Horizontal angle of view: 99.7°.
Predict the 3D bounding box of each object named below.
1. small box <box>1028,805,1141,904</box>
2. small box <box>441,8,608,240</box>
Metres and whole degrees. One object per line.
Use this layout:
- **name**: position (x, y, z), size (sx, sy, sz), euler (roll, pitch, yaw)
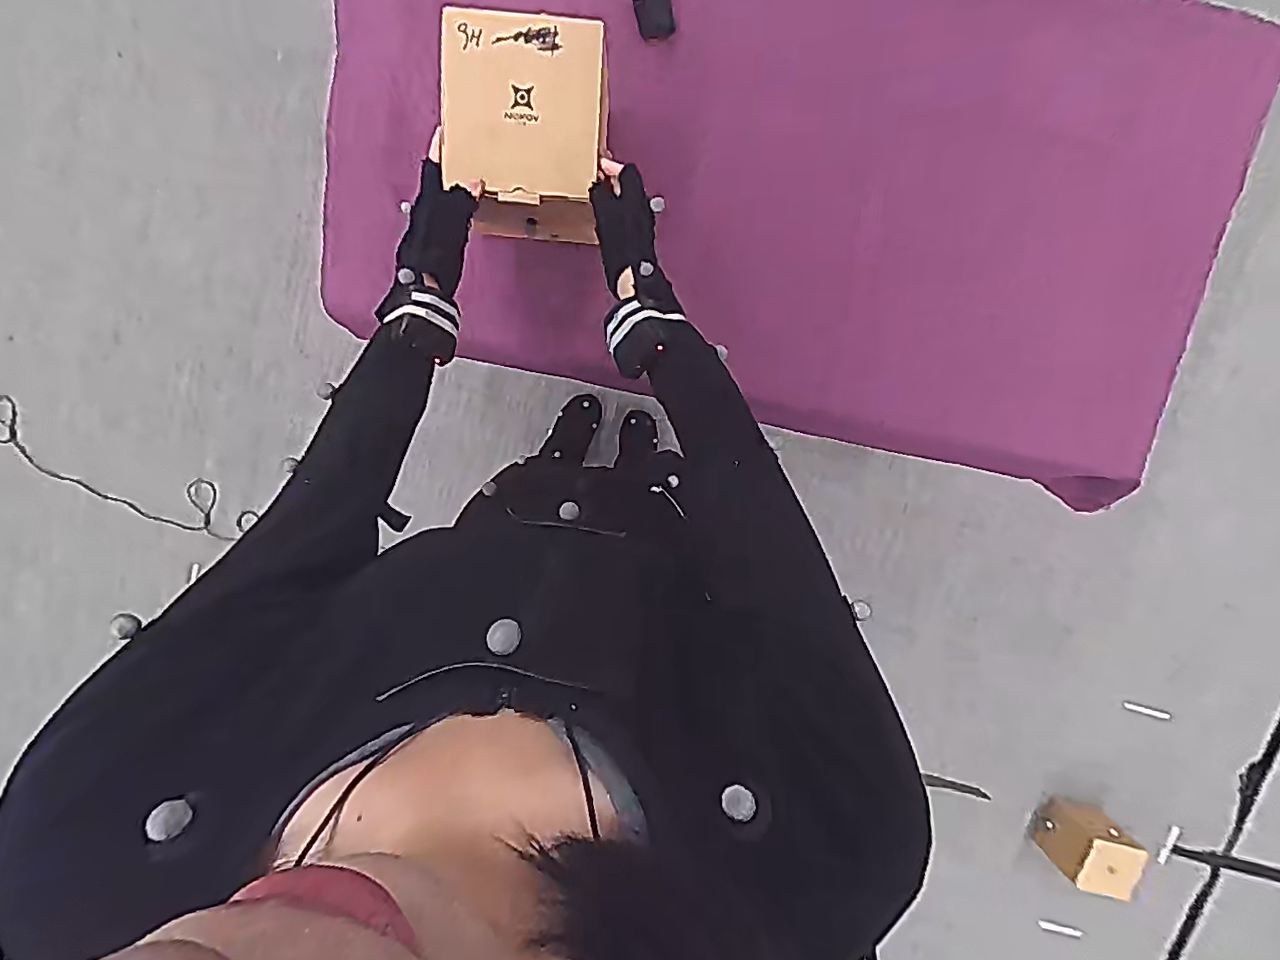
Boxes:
- **small box**: position (1.348, 1.134, 1.650), size (0.179, 0.176, 0.168), euler (16, 96, -3)
- **small box**: position (-0.126, -0.399, 0.640), size (0.168, 0.176, 0.179), euler (4, 99, -3)
